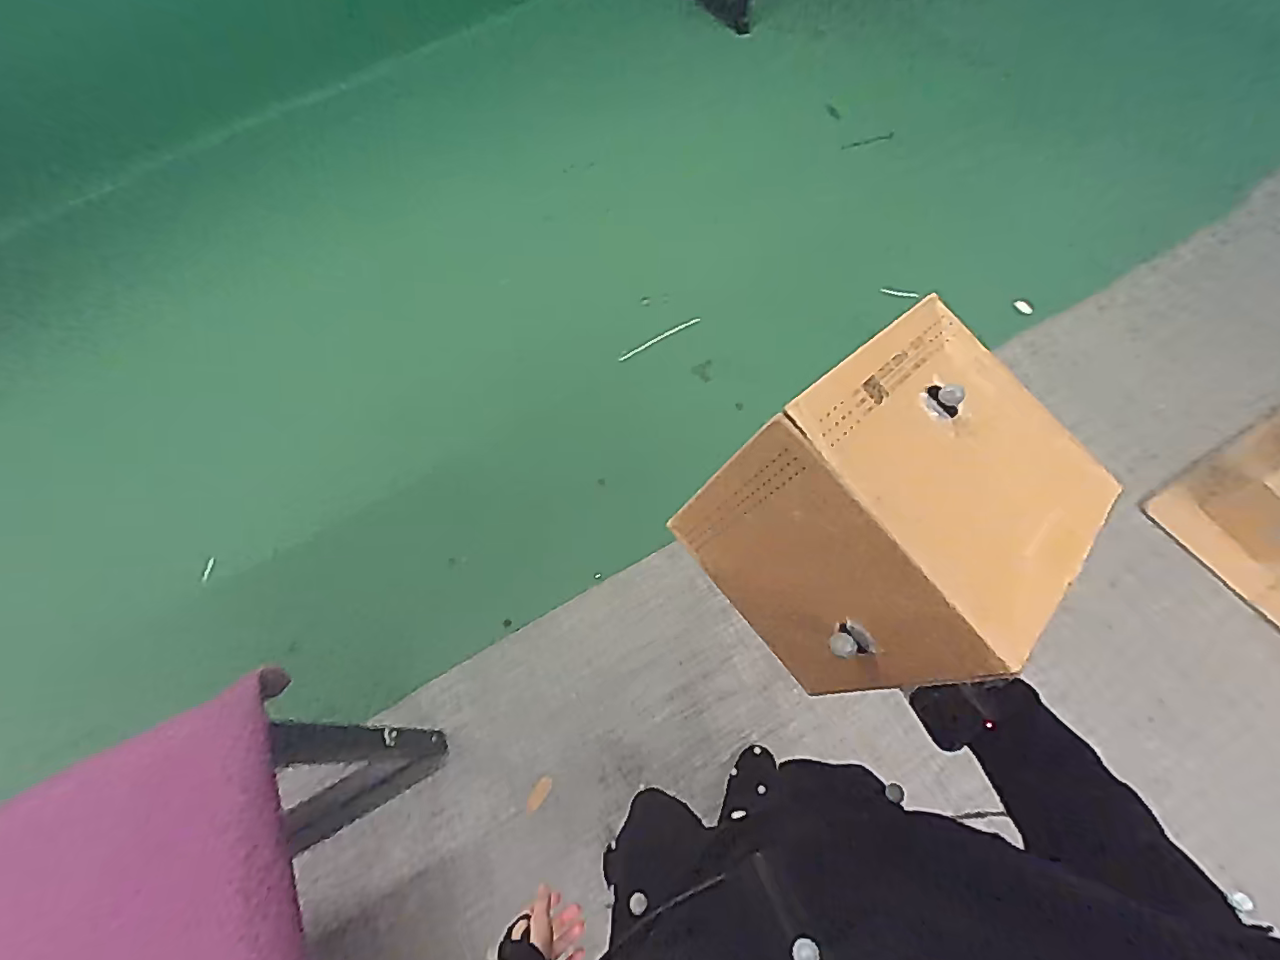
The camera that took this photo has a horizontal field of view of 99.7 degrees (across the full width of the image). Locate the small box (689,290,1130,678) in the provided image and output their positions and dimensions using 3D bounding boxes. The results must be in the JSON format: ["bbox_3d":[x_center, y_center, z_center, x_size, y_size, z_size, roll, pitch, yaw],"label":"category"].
[{"bbox_3d":[0.158,0.008,0.369,0.168,0.179,0.176,-34,80,-28],"label":"small box"}]
